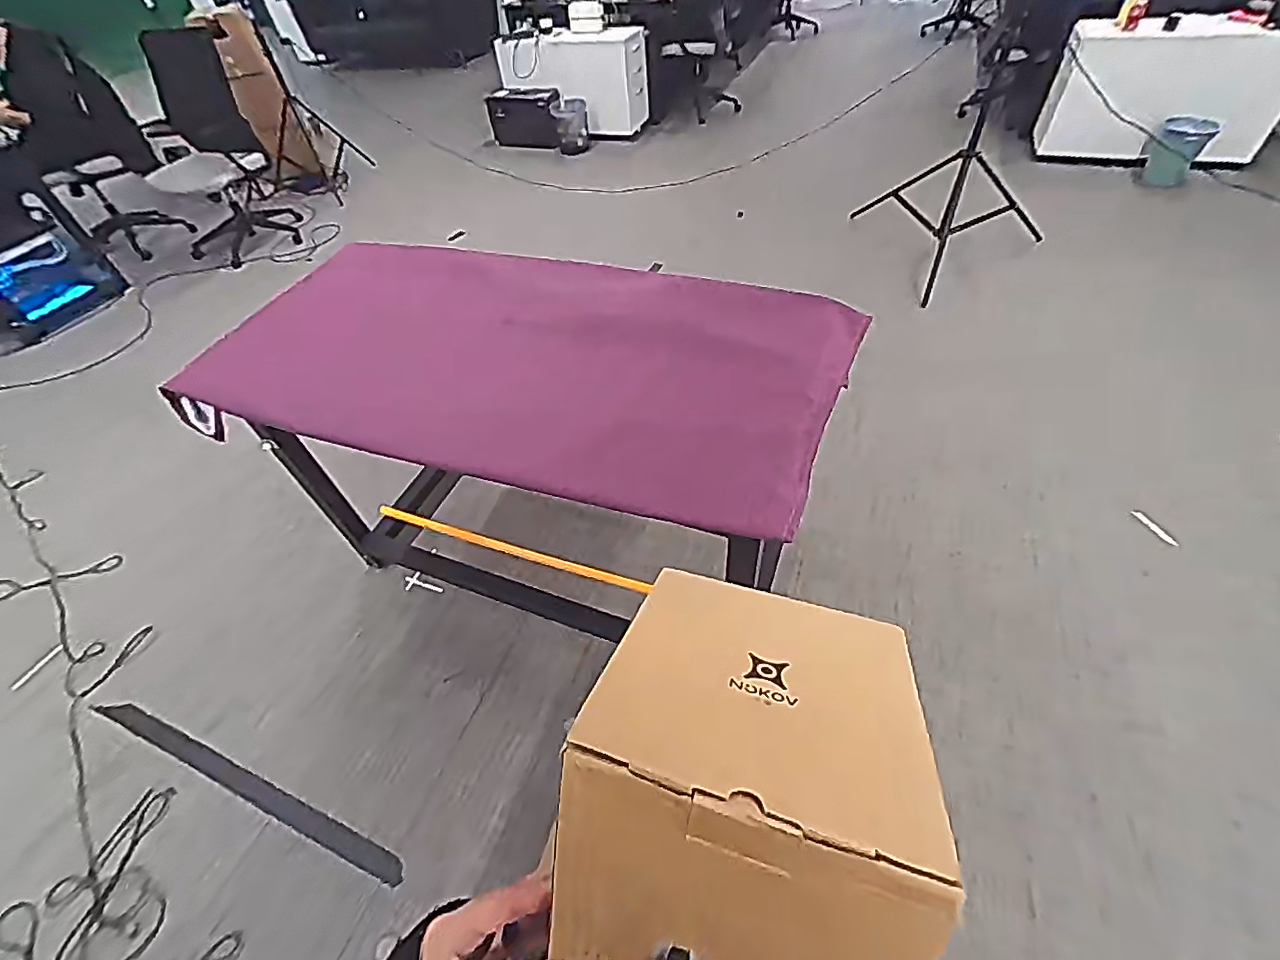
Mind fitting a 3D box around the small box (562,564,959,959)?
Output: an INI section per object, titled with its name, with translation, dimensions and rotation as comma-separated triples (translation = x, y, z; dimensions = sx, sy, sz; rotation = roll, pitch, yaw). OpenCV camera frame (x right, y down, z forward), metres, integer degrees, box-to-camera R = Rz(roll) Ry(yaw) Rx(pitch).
[small box]
translation = 0.059, 0.179, 0.324
dimensions = 0.168, 0.176, 0.179
rotation = 11, 22, 14
